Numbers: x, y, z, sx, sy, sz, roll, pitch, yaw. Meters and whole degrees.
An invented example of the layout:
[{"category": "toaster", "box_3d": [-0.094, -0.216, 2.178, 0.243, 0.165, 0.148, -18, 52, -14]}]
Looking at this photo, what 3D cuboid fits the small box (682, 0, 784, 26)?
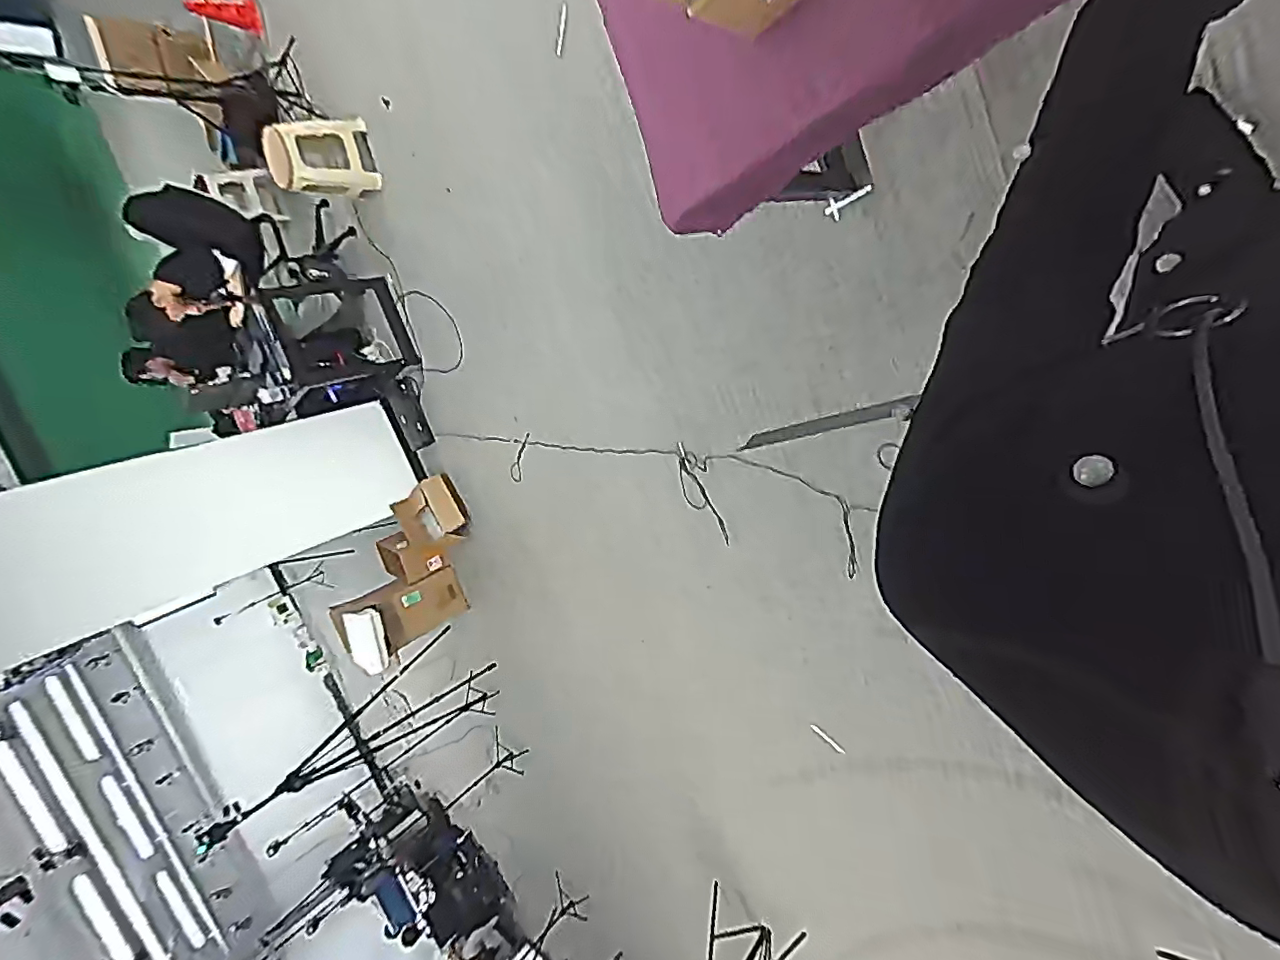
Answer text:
[{"category": "small box", "box_3d": [0.143, -0.745, 0.710, 0.168, 0.176, 0.179, -9, 104, 46]}]
